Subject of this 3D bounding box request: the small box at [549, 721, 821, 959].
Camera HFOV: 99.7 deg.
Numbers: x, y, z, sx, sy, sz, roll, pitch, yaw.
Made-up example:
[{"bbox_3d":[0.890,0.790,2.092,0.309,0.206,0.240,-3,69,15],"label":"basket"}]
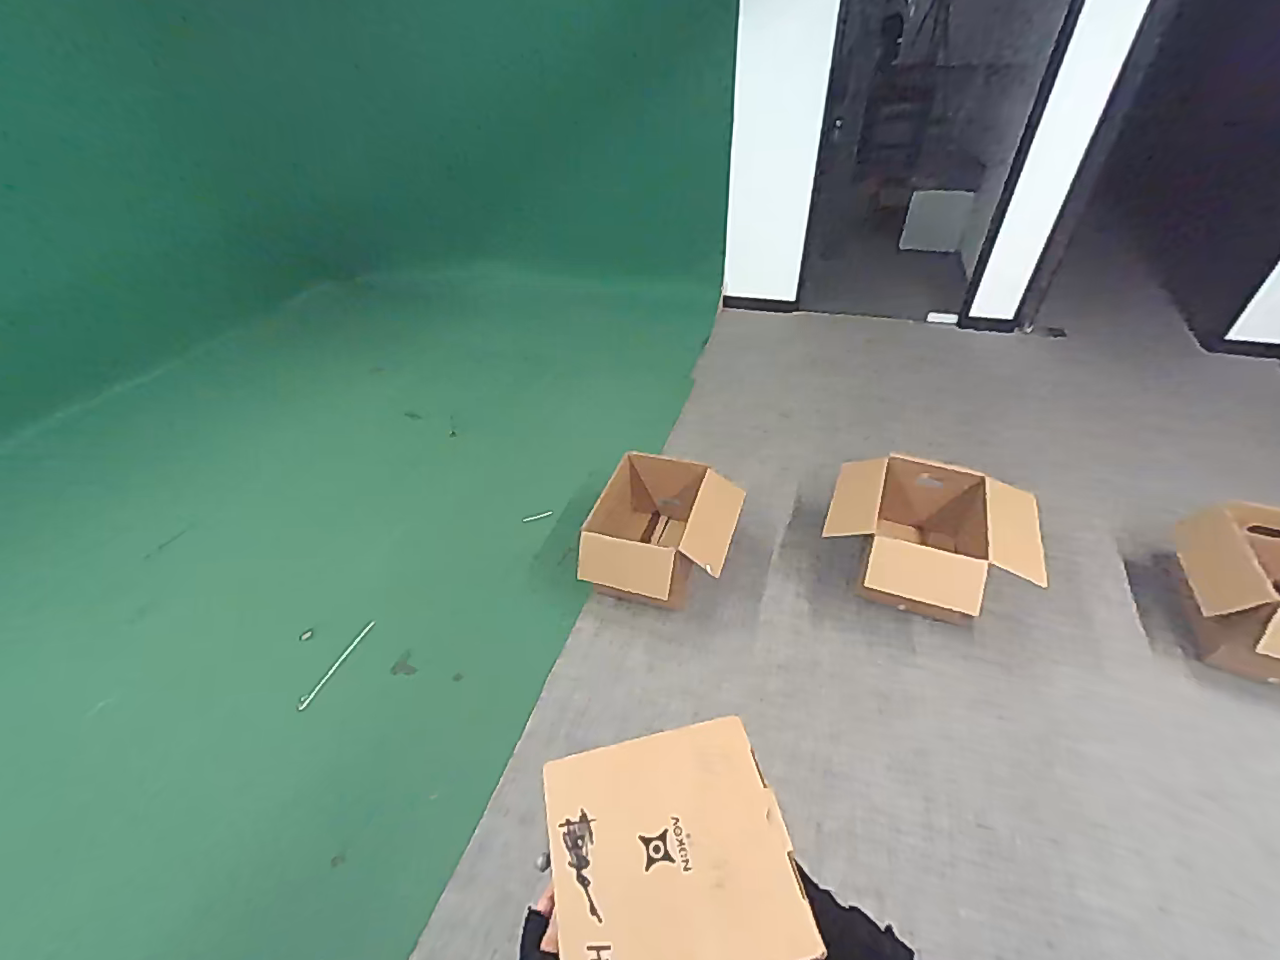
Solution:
[{"bbox_3d":[0.023,0.336,0.461,0.179,0.176,0.168,-9,43,-8],"label":"small box"}]
